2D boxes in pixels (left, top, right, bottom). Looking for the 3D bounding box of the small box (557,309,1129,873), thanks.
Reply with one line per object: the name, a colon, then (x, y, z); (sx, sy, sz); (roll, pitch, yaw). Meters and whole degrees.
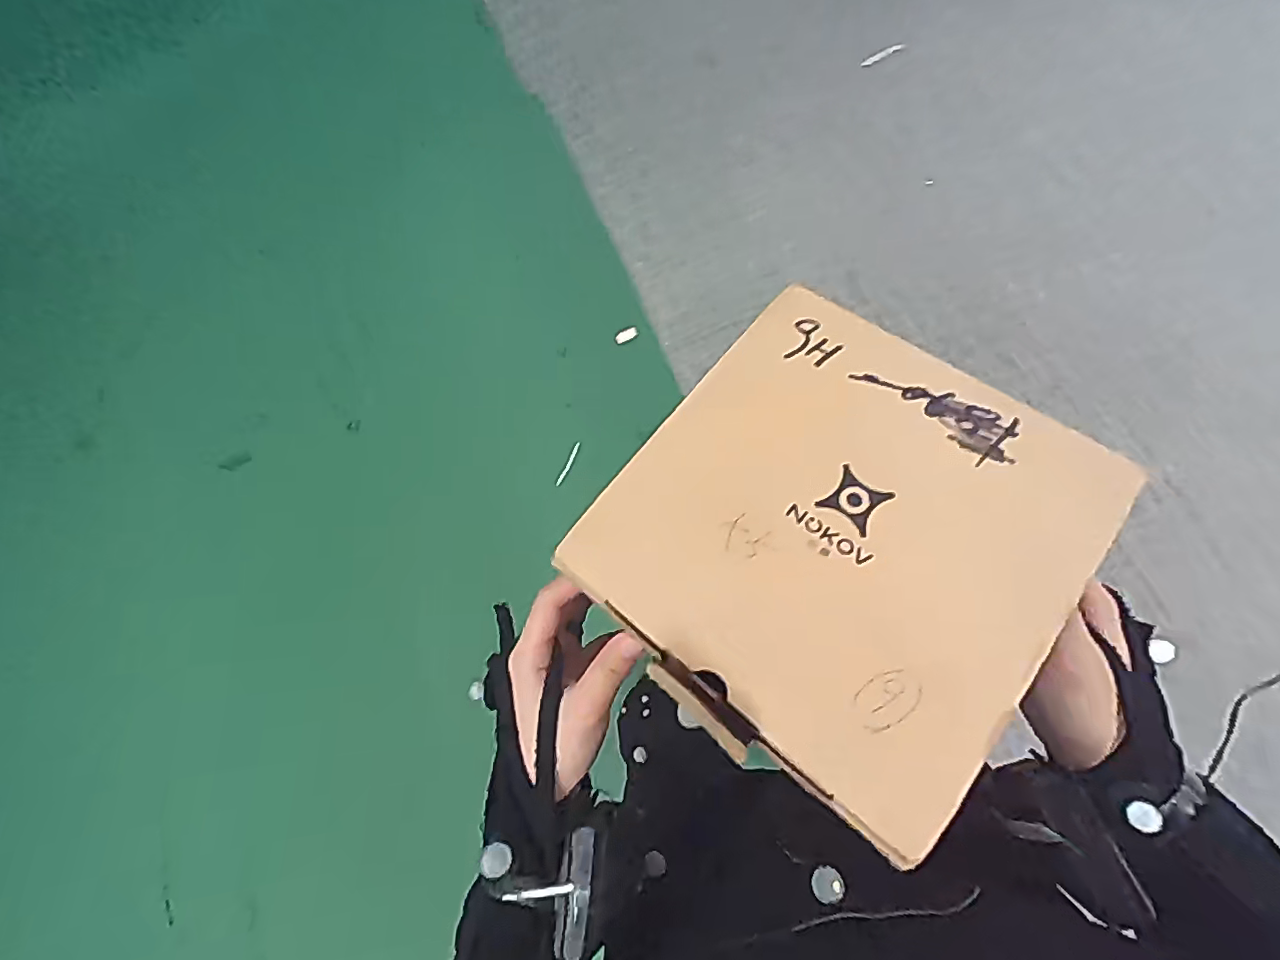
small box: (0.089, 0.053, 0.296); (0.168, 0.176, 0.179); (38, 78, 19)
